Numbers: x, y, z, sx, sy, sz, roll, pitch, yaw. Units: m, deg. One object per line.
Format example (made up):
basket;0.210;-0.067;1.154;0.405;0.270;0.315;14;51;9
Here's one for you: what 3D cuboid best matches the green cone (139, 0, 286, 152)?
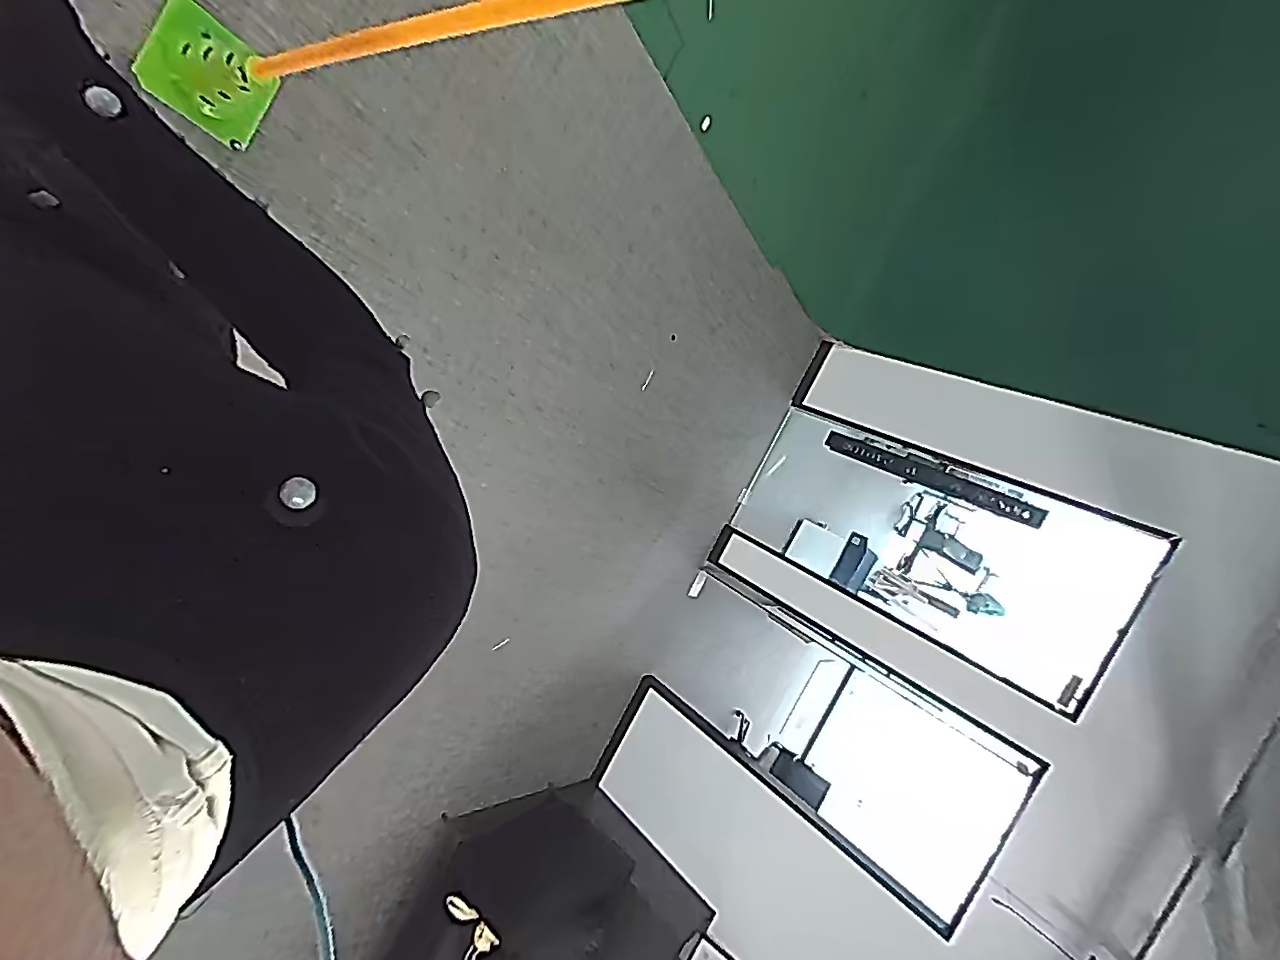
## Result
green cone;-0.750;-0.760;1.008;0.202;0.368;0.200;27;91;-53
